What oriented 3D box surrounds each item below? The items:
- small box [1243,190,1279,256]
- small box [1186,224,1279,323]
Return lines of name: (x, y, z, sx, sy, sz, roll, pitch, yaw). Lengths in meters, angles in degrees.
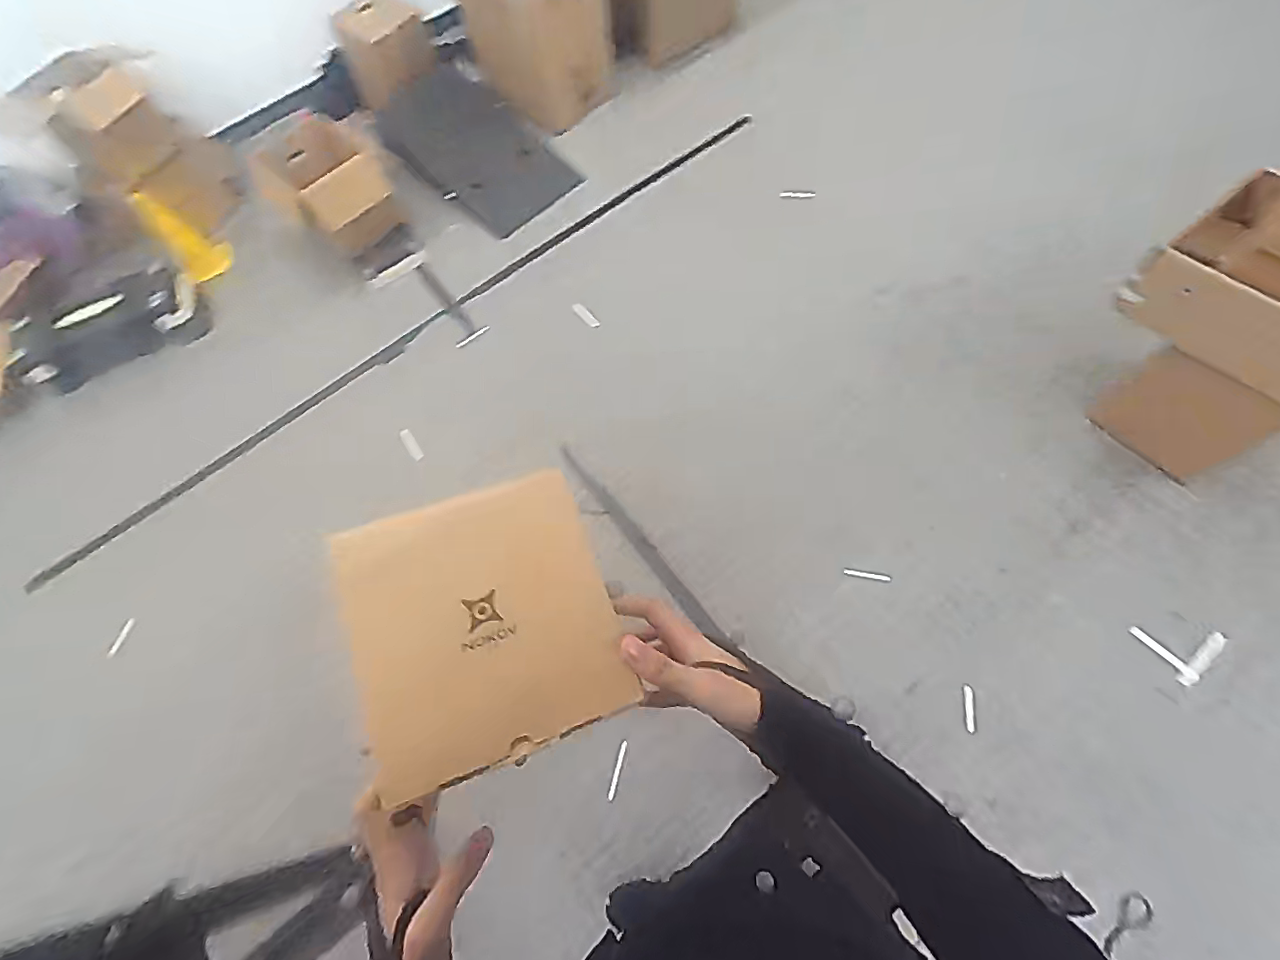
small box: (1.394, -0.561, 1.081, 0.179, 0.176, 0.168, -42, 66, -13)
small box: (1.425, -0.487, 1.225, 0.168, 0.176, 0.179, -44, 66, -14)
